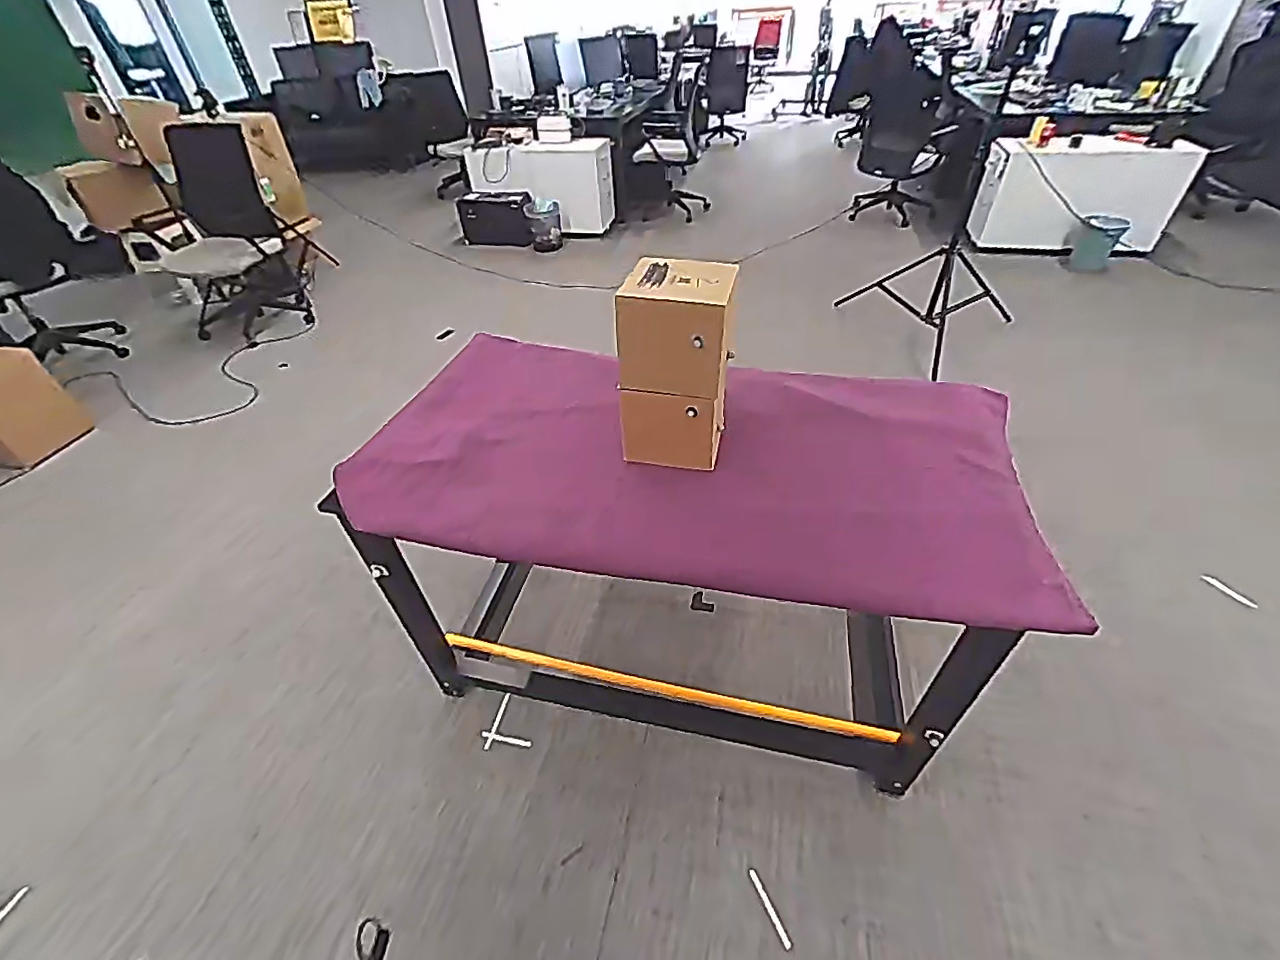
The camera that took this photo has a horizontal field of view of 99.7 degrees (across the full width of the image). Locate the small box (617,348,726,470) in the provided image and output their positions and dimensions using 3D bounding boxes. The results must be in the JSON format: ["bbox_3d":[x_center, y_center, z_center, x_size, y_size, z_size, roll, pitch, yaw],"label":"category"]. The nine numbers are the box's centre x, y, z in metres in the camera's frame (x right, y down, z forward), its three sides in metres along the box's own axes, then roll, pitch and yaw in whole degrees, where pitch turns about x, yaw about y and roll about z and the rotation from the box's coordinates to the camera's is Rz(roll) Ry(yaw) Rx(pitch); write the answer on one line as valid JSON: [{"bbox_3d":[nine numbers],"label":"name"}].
[{"bbox_3d":[0.064,-0.136,1.039,0.179,0.176,0.168,7,42,11],"label":"small box"}]
